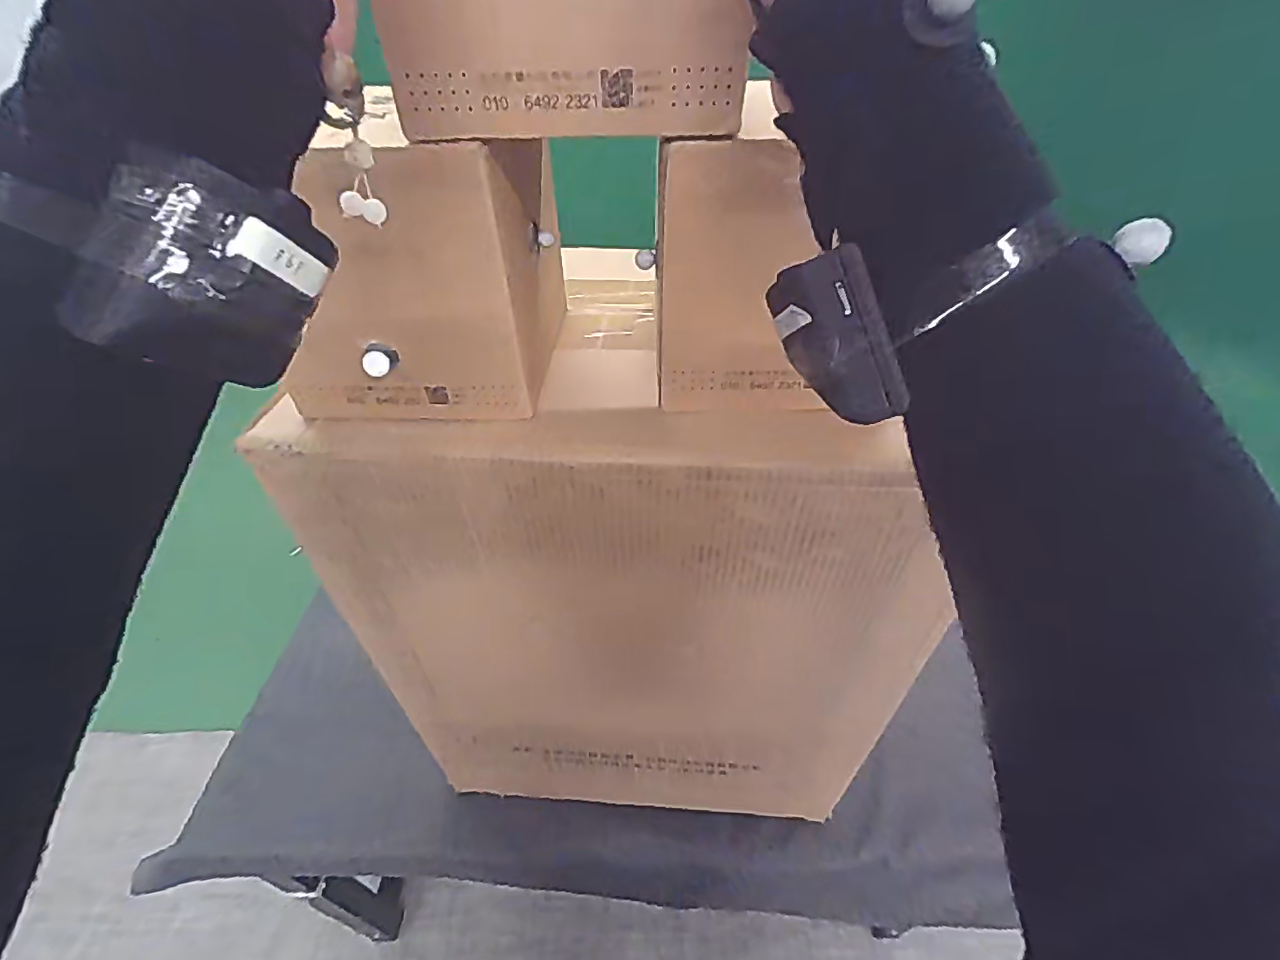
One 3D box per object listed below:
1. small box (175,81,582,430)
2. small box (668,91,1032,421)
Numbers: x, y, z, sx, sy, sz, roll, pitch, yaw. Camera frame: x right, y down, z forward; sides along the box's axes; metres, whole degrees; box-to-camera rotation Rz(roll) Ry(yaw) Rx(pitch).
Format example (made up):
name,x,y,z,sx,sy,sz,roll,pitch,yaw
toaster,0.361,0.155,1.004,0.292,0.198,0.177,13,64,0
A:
name,x,y,z,sx,sy,sz,roll,pitch,yaw
small box,-0.136,-0.155,0.368,0.168,0.176,0.179,3,44,4
small box,0.109,-0.155,0.377,0.168,0.176,0.179,1,44,-2
